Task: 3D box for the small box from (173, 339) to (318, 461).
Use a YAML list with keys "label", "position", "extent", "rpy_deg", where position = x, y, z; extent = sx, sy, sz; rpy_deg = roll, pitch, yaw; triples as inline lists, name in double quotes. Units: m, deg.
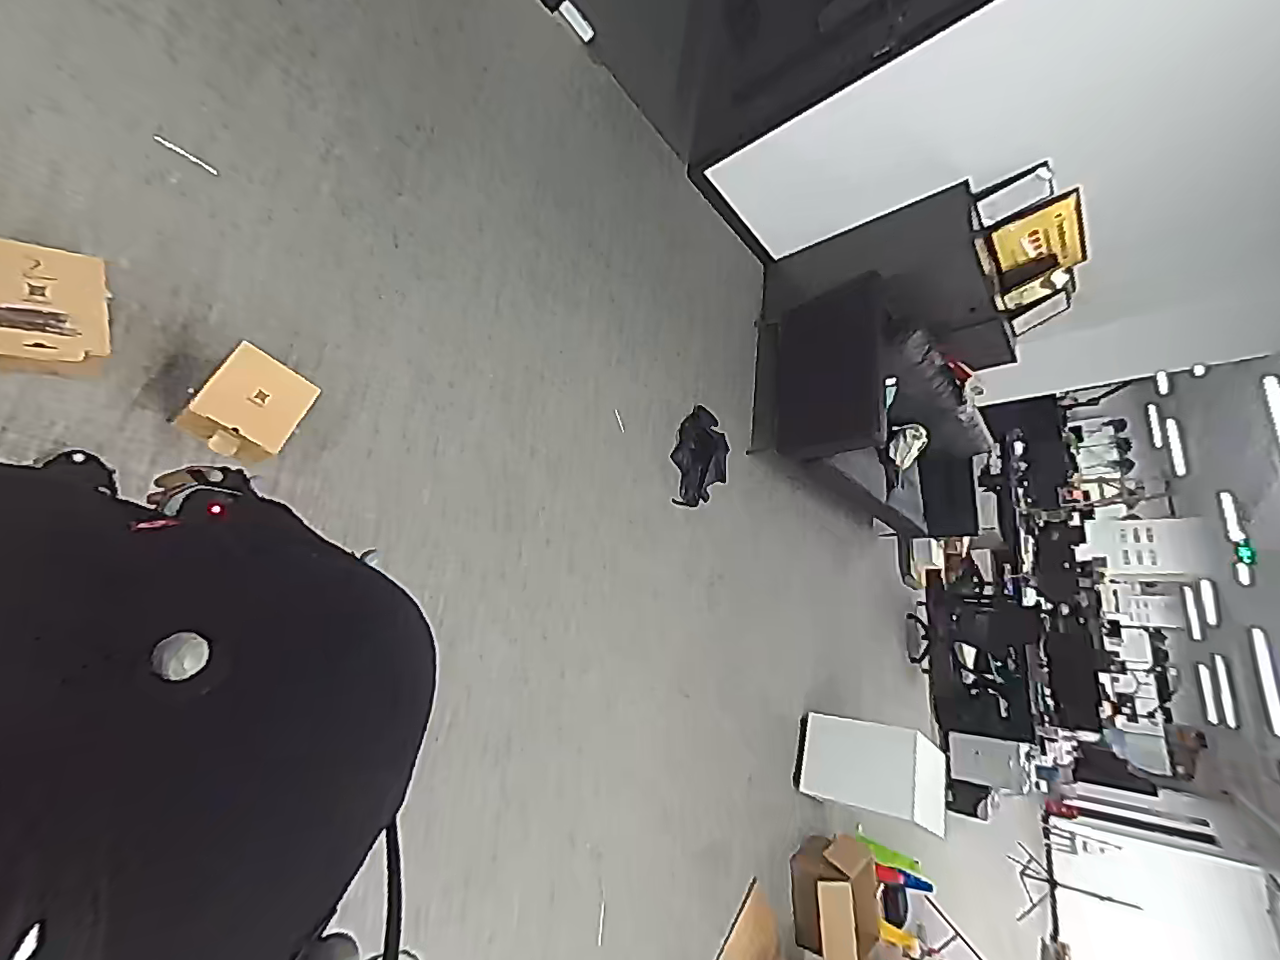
- label: "small box"
  position: [-0.828, -0.160, 1.134]
  extent: [0.168, 0.176, 0.179]
  rpy_deg: [41, 55, -38]
